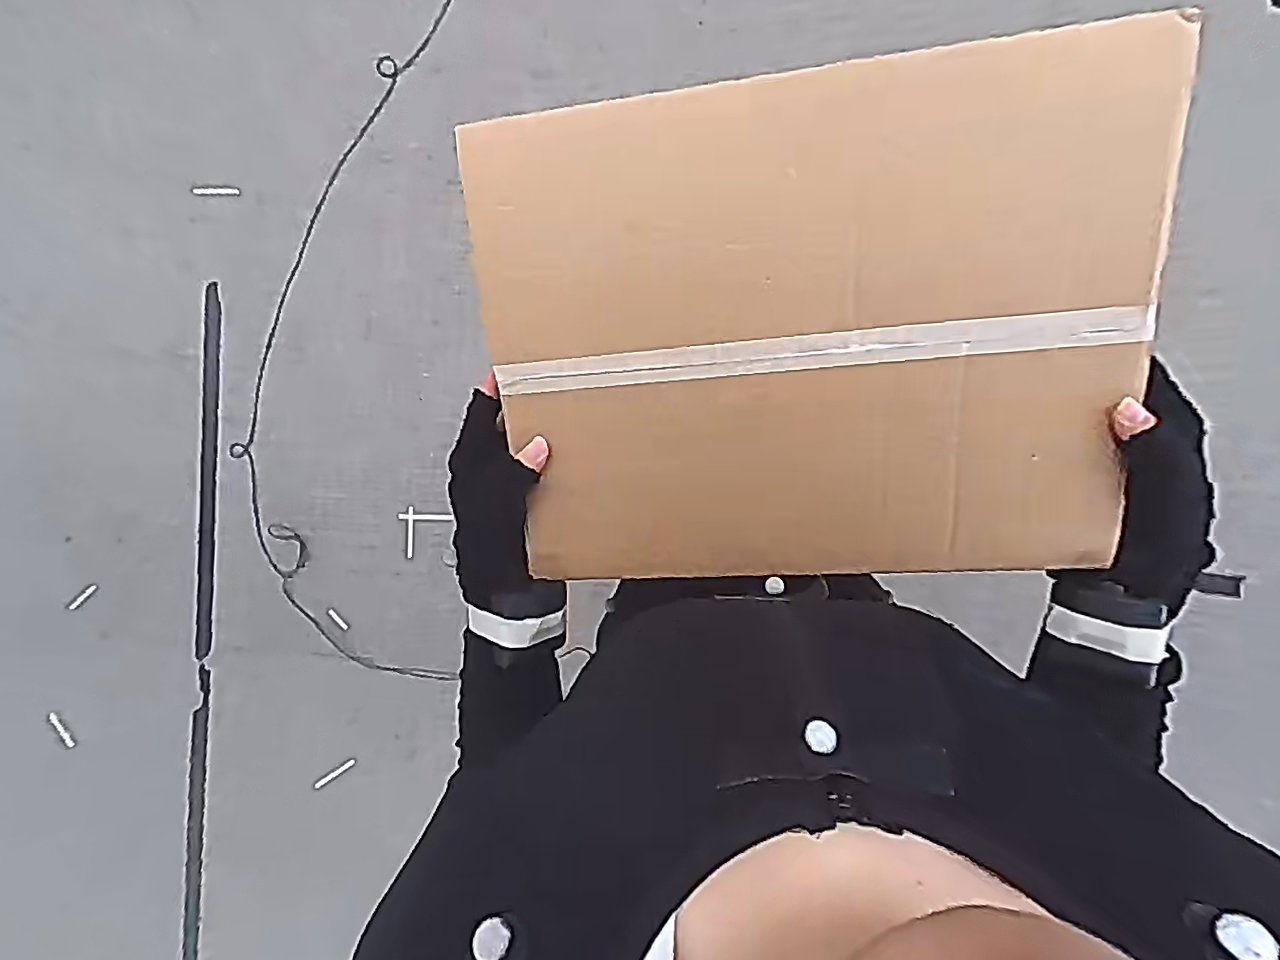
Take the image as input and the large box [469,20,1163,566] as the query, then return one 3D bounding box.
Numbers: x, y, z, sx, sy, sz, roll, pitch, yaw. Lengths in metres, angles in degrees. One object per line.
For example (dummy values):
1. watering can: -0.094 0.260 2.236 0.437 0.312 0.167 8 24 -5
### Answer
1. large box: 0.116 -0.131 0.499 0.408 0.320 0.320 -2 108 9
